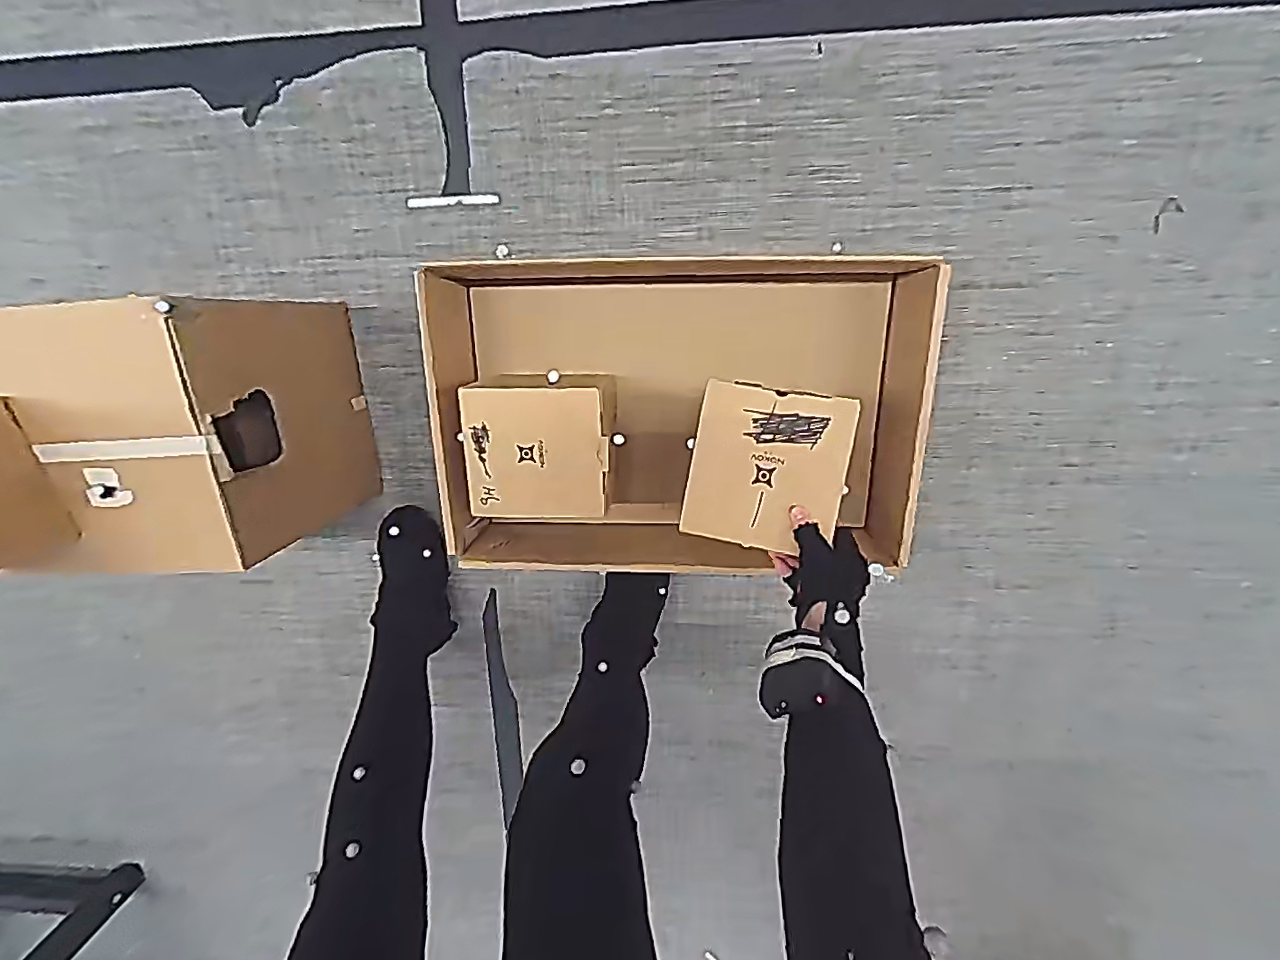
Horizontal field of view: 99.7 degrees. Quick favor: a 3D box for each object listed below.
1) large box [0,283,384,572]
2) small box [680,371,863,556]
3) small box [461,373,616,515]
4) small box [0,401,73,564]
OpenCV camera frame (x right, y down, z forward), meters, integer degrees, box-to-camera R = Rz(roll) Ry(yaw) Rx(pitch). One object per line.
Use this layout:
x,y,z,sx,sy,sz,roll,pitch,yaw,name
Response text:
-0.650,-0.086,0.754,0.408,0.320,0.320,-3,108,5,large box
0.155,-0.020,0.661,0.168,0.176,0.179,12,93,13,small box
-0.124,-0.057,0.736,0.179,0.176,0.168,0,105,3,small box
-0.751,0.022,0.540,0.168,0.176,0.179,-11,106,6,small box
